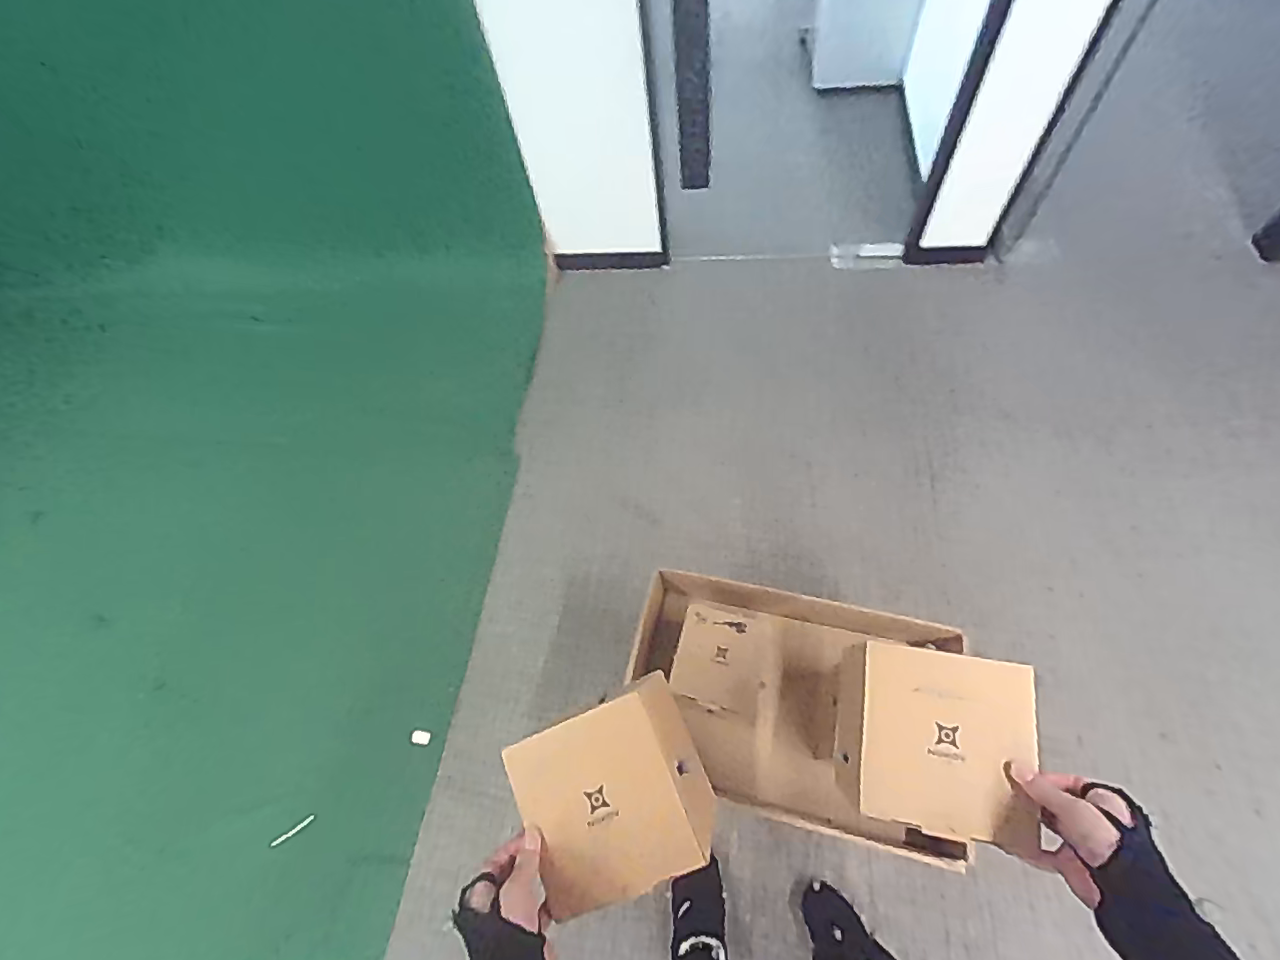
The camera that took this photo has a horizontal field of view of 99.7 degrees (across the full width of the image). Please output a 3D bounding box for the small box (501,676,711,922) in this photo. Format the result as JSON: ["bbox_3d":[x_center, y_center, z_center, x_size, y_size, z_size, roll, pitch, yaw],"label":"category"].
[{"bbox_3d":[-0.029,0.343,0.626,0.168,0.176,0.179,-27,75,4],"label":"small box"}]

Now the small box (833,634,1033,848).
[{"bbox_3d":[0.323,0.285,0.626,0.168,0.176,0.179,5,72,13],"label":"small box"}]
